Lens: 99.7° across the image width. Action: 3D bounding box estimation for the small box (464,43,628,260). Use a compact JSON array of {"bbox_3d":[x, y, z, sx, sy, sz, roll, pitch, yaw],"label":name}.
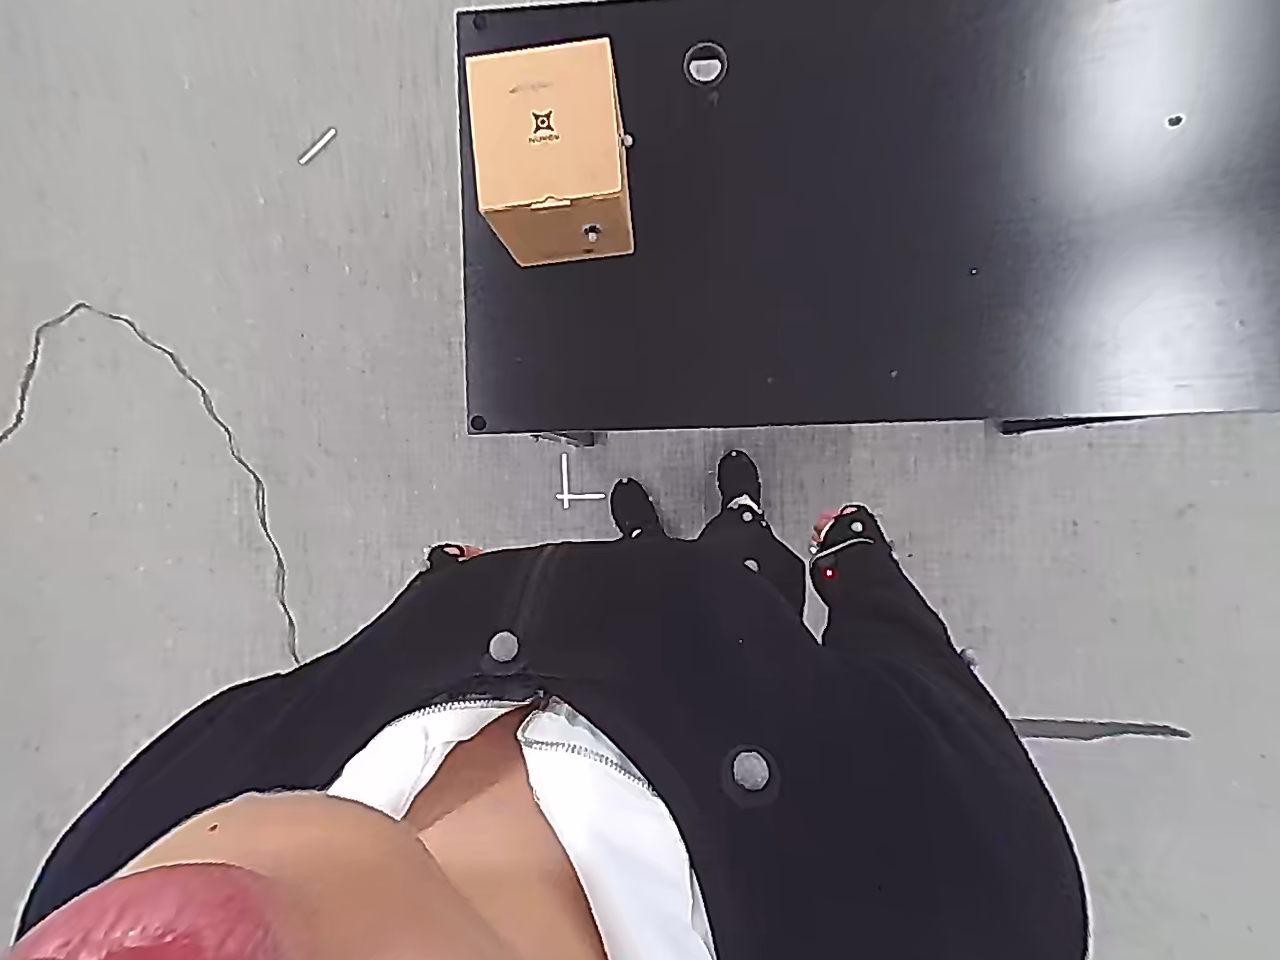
[{"bbox_3d":[-0.108,-0.398,0.691,0.168,0.176,0.179,-6,90,3],"label":"small box"}]
